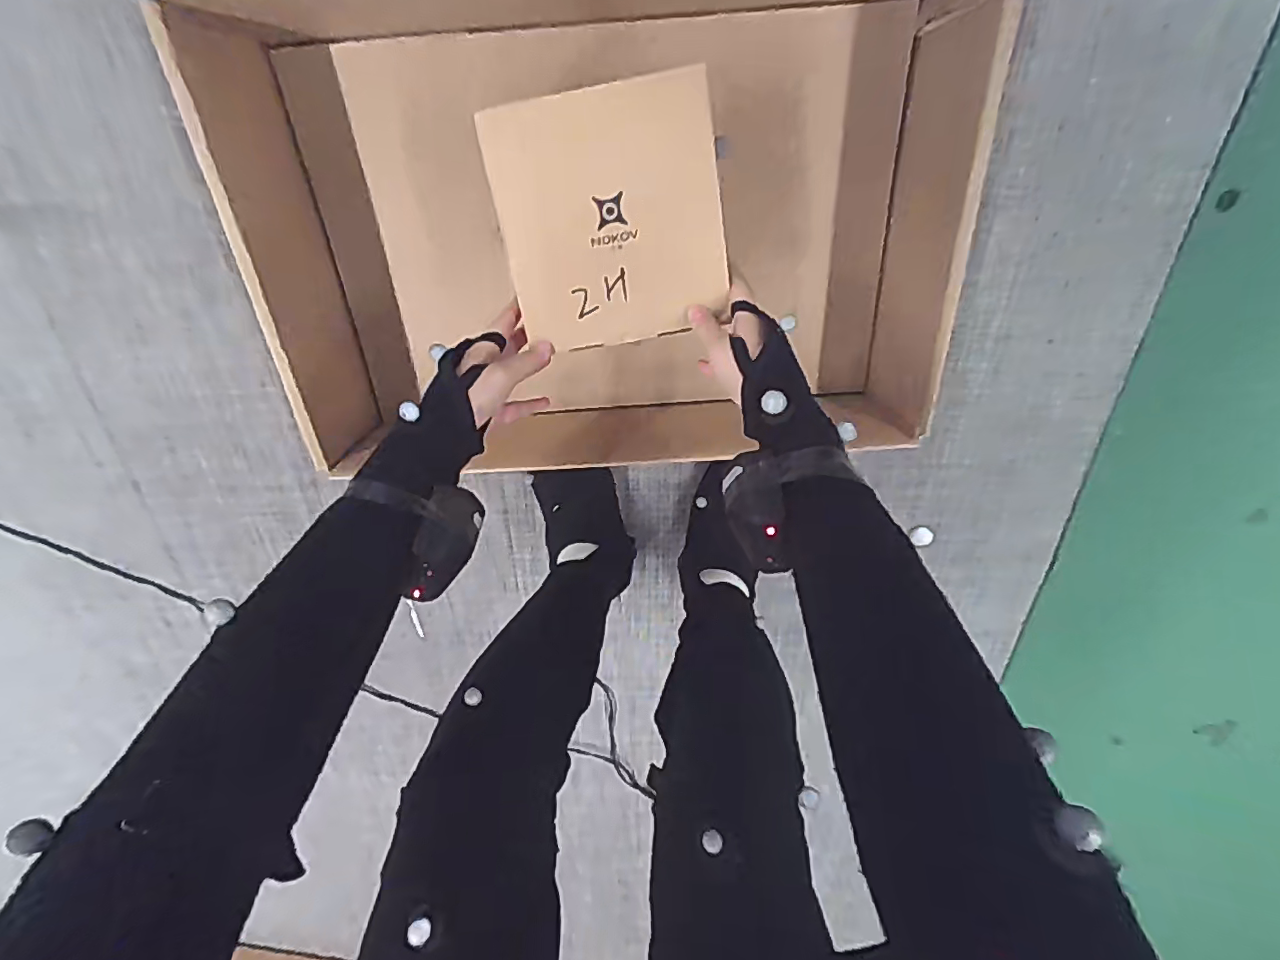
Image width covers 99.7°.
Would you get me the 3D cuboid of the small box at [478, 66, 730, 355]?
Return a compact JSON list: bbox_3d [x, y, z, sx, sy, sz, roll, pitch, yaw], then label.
[{"bbox_3d":[-0.021,-0.221,0.480,0.168,0.176,0.179,-9,110,5],"label":"small box"}]
